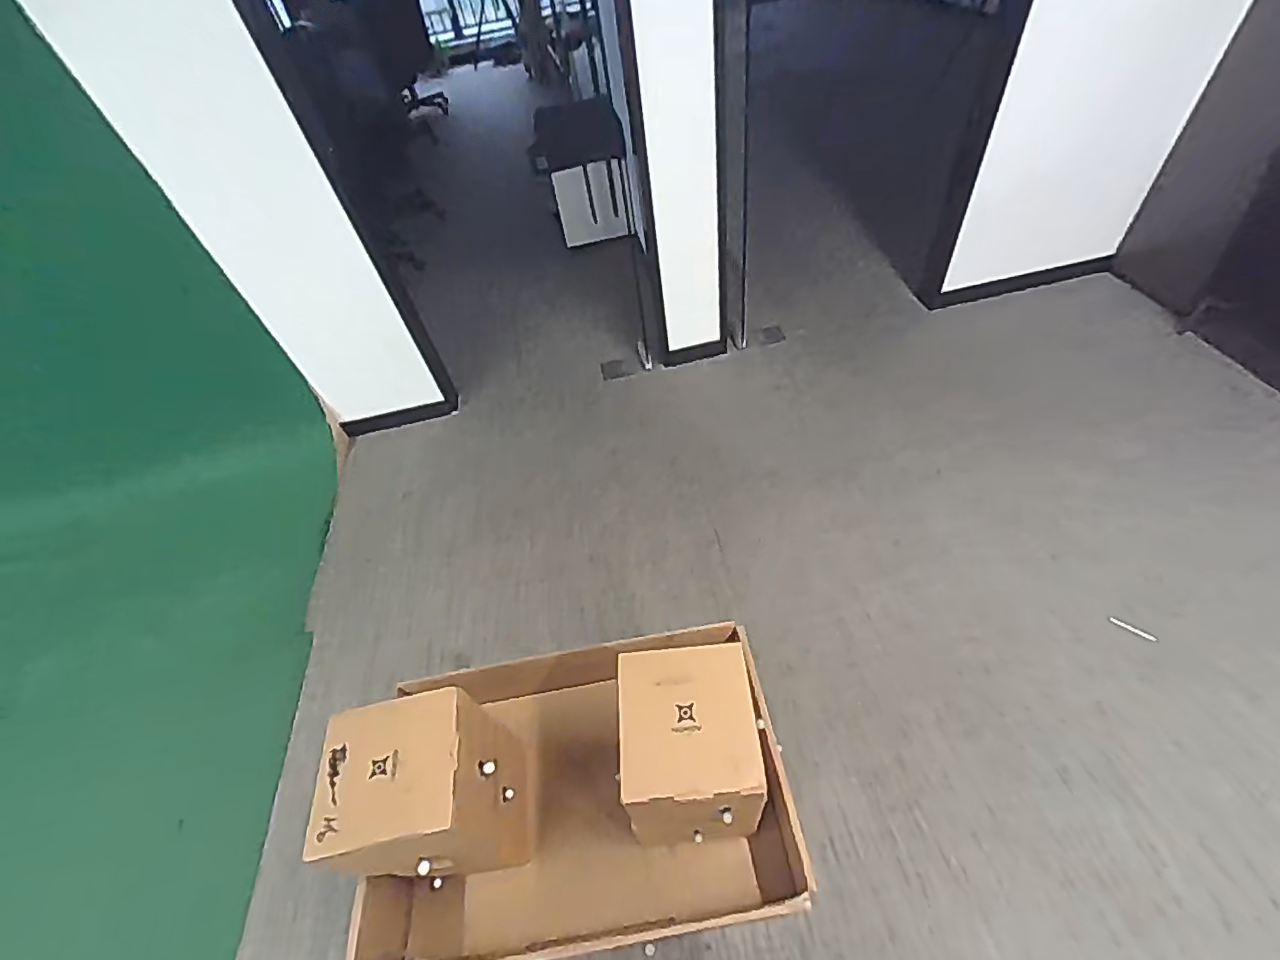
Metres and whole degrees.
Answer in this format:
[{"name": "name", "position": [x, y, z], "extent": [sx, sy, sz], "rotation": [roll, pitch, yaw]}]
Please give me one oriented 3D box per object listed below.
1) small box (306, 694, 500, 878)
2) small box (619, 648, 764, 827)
[{"name": "small box", "position": [-0.294, 0.409, 0.720], "extent": [0.179, 0.176, 0.168], "rotation": [-12, 48, -1]}, {"name": "small box", "position": [0.066, 0.343, 0.711], "extent": [0.168, 0.176, 0.179], "rotation": [-6, 48, 4]}]
